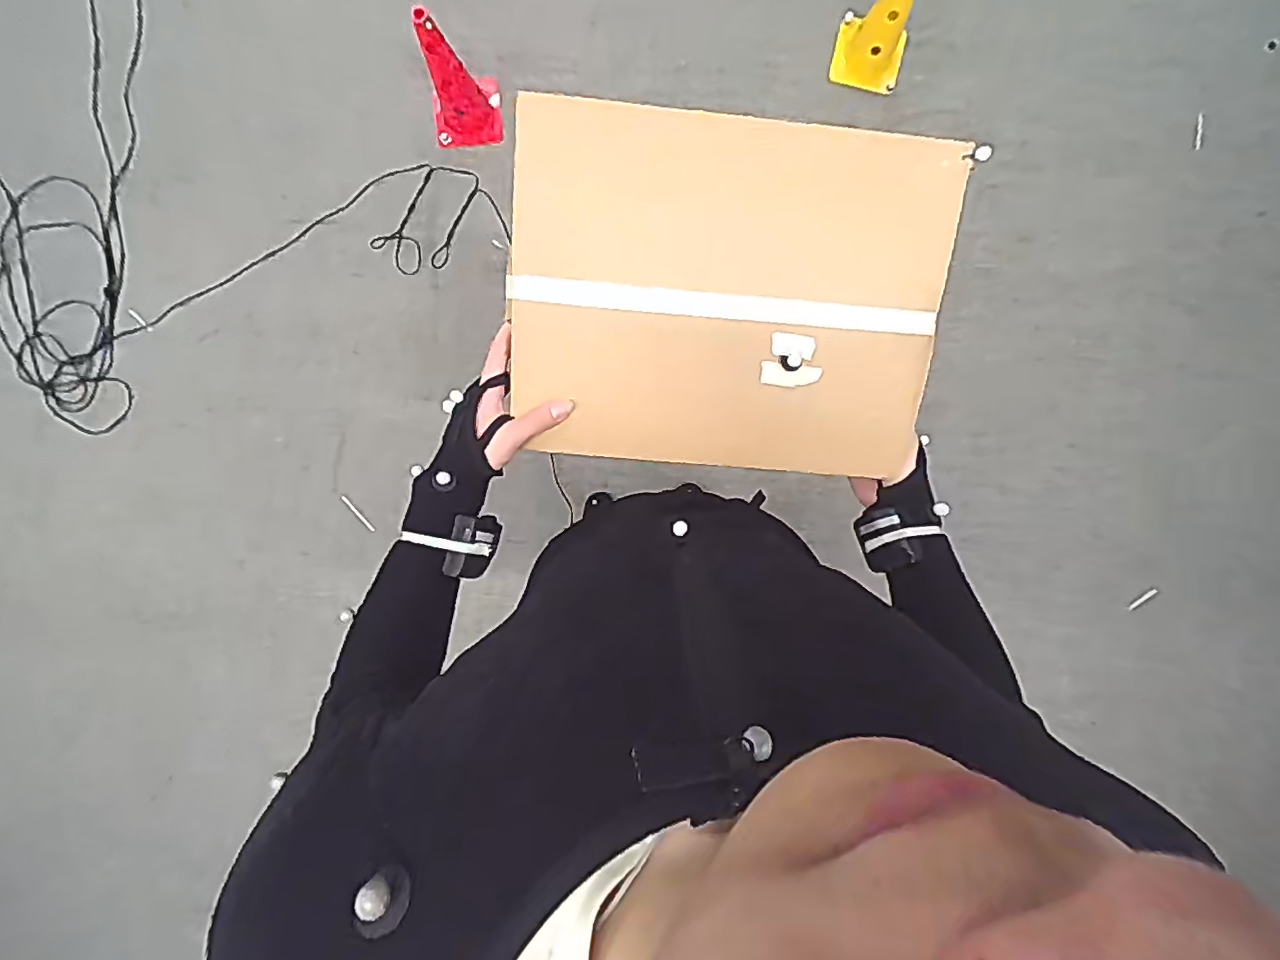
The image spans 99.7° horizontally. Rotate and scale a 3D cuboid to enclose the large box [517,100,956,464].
[{"bbox_3d":[0.074,-0.212,0.662,0.408,0.320,0.320,4,106,-4],"label":"large box"}]
